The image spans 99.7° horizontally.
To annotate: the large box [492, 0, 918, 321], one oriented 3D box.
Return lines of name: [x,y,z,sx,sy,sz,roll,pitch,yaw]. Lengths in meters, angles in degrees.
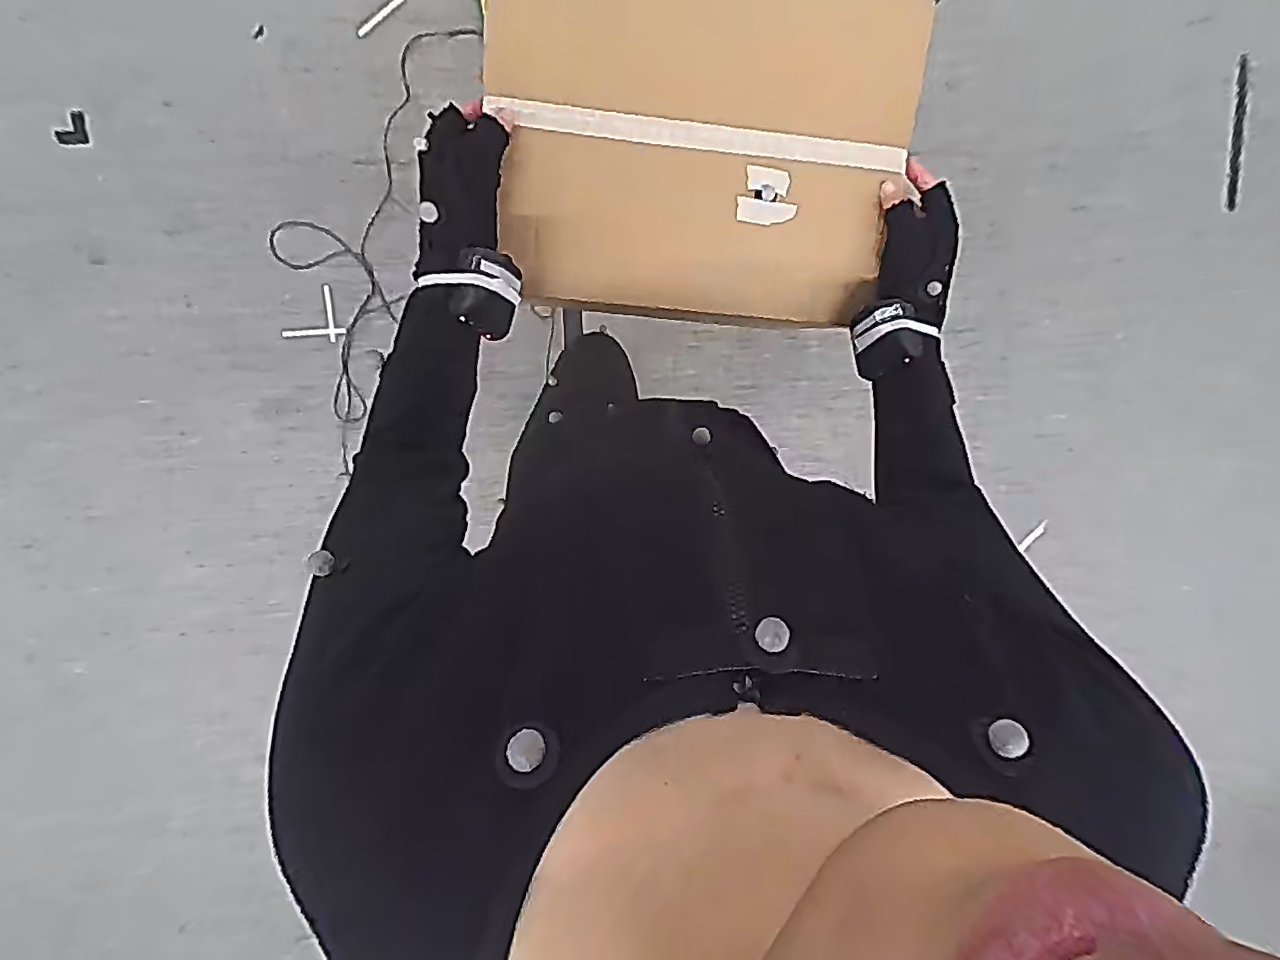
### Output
large box: [0.043,-0.371,0.669,0.408,0.320,0.320,3,105,-7]
